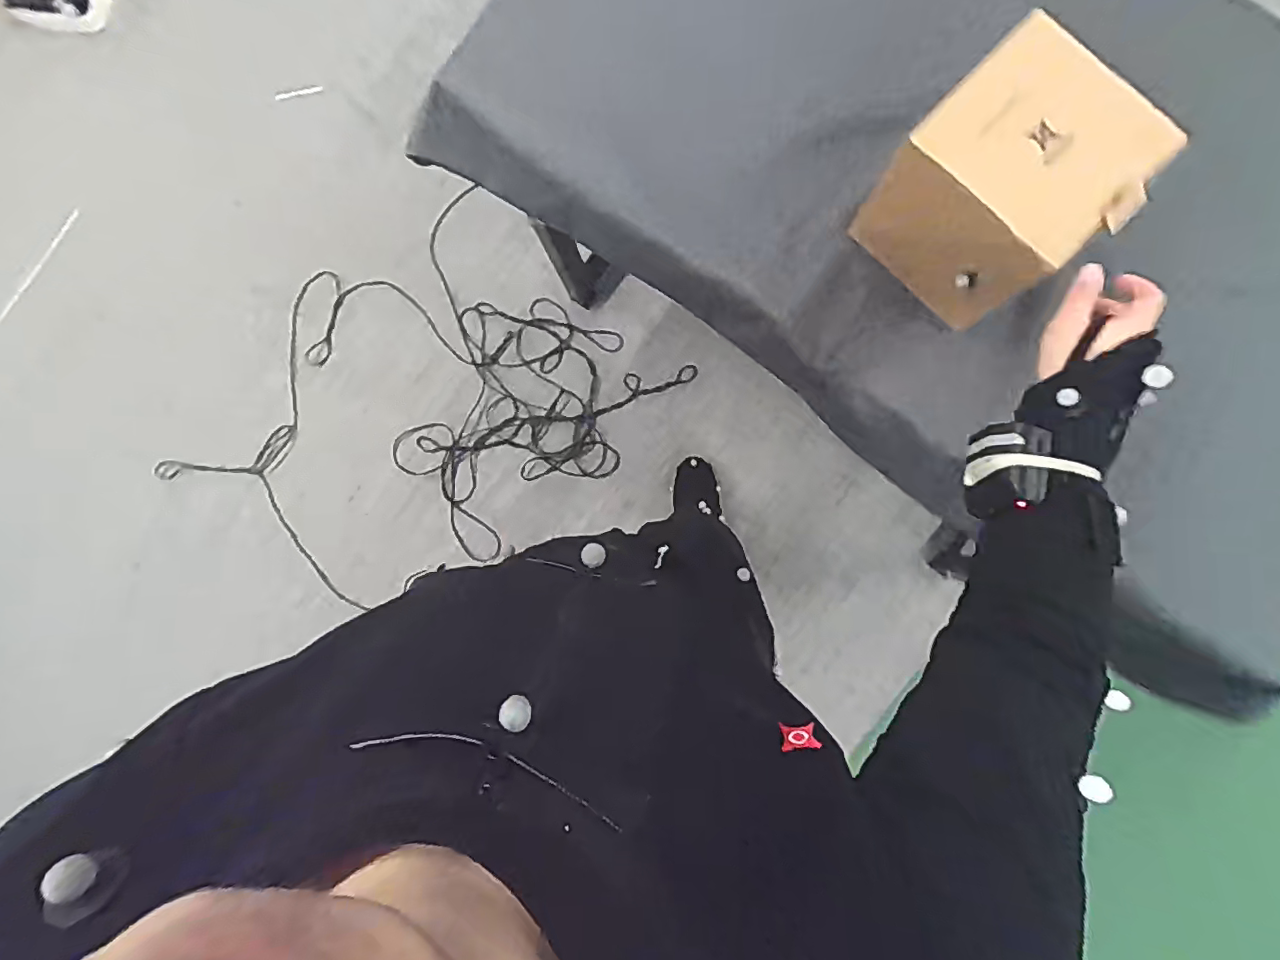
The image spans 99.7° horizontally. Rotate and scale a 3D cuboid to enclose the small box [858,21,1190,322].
[{"bbox_3d":[0.363,-0.286,0.551,0.168,0.176,0.179,-45,85,0],"label":"small box"}]
